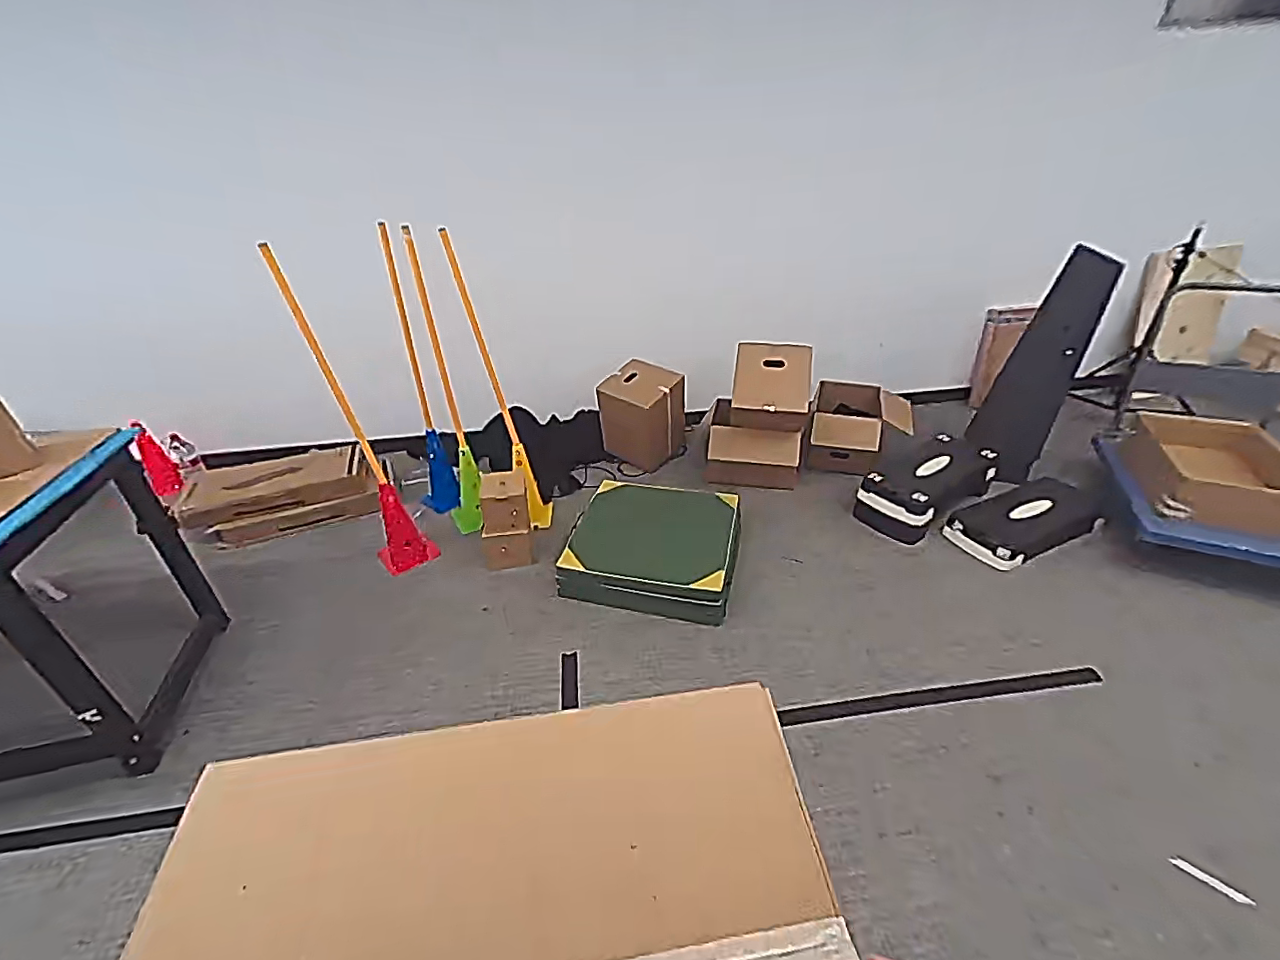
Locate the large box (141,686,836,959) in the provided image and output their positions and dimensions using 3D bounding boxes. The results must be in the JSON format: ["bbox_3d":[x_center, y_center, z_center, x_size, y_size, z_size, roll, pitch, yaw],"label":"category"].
[{"bbox_3d":[-0.080,0.396,0.398,0.408,0.320,0.320,-6,42,-5],"label":"large box"}]
